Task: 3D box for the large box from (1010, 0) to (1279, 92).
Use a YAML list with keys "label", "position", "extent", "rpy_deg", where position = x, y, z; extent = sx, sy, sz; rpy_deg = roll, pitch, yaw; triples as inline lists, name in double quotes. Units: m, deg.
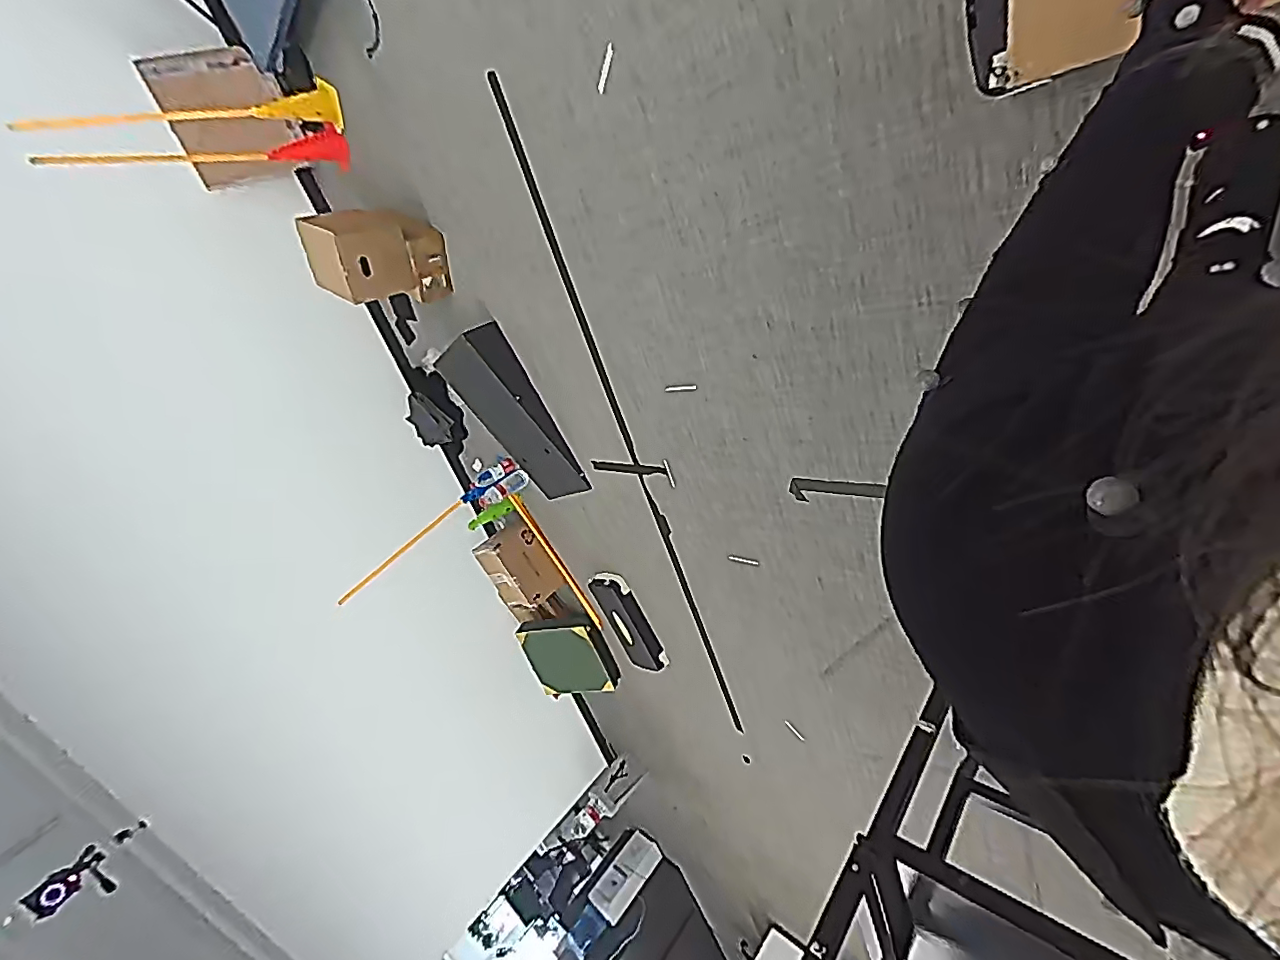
- label: "large box"
  position: [0.672, -0.682, 0.574]
  extent: [0.408, 0.320, 0.320]
  rpy_deg: [11, 127, 45]
